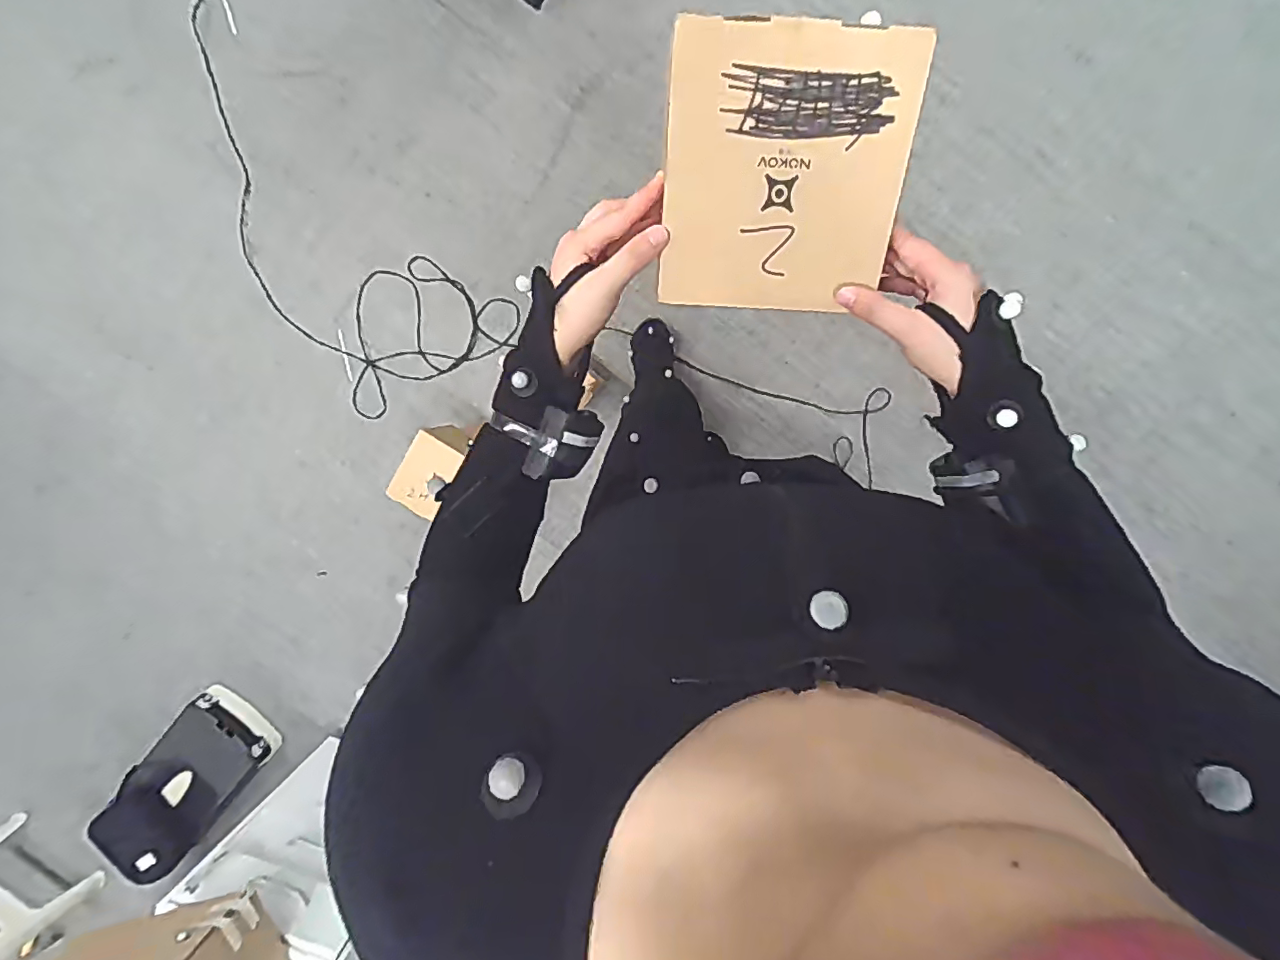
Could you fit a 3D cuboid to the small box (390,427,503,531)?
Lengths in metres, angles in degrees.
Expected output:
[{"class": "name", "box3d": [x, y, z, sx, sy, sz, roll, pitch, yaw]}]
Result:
[{"class": "small box", "box3d": [-0.443, -0.011, 1.273, 0.168, 0.176, 0.179, 32, 101, -2]}]

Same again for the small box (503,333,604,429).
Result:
[{"class": "small box", "box3d": [-0.212, -0.252, 1.384, 0.179, 0.176, 0.168, 42, 99, -3]}]

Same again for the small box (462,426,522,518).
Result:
[{"class": "small box", "box3d": [-0.433, -0.029, 1.436, 0.168, 0.176, 0.179, 33, 100, -2]}]
